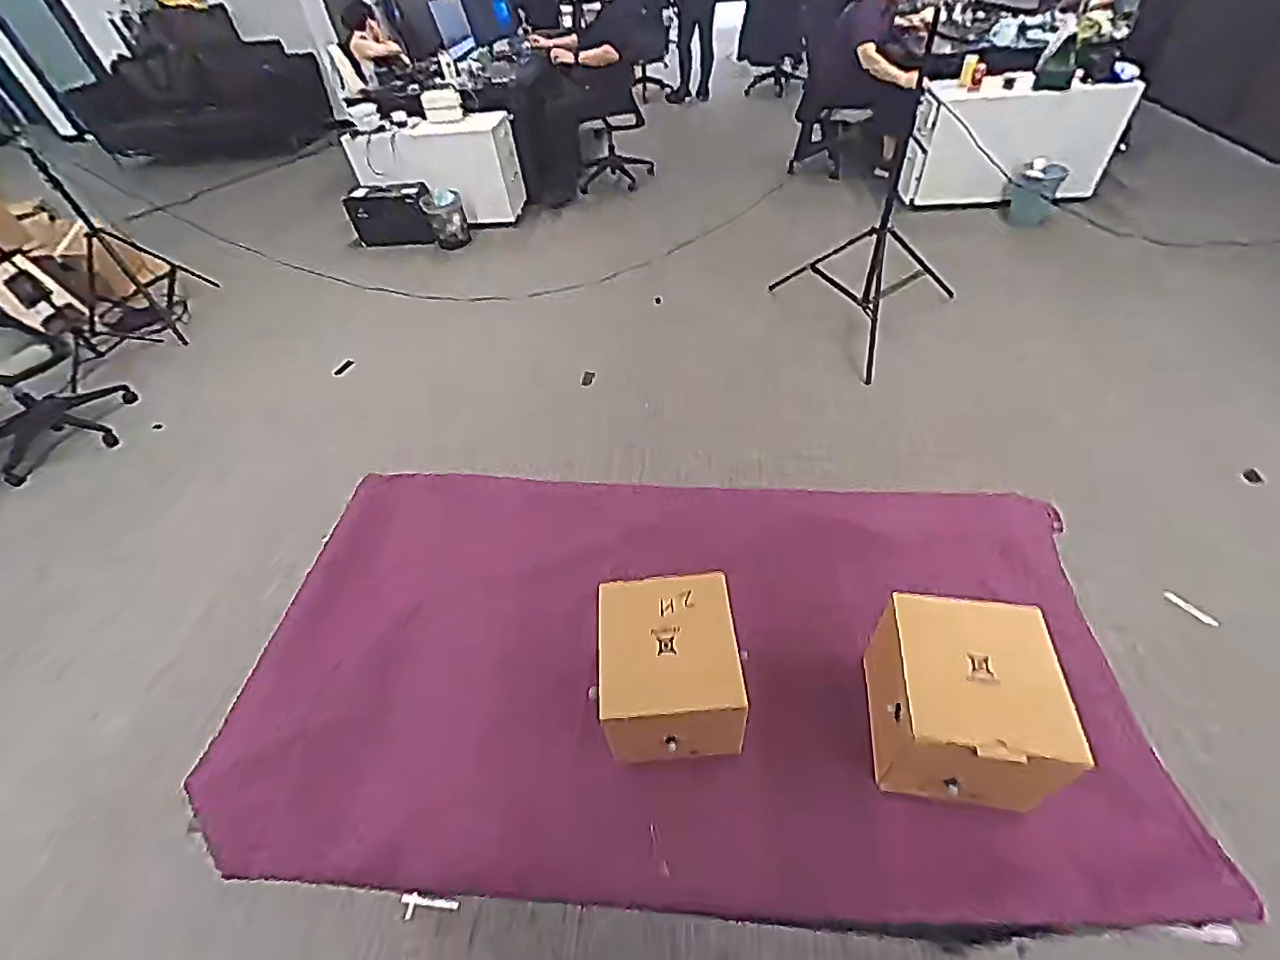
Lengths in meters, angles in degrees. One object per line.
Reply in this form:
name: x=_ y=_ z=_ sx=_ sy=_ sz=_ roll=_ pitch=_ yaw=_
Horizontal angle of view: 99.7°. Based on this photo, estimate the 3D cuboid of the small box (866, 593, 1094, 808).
small box: x=0.381 y=0.262 z=0.649 sx=0.168 sy=0.176 sz=0.179 roll=4 pitch=46 yaw=11

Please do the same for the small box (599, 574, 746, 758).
small box: x=0.040 y=0.247 z=0.705 sx=0.168 sy=0.176 sz=0.179 roll=-5 pitch=46 yaw=1
